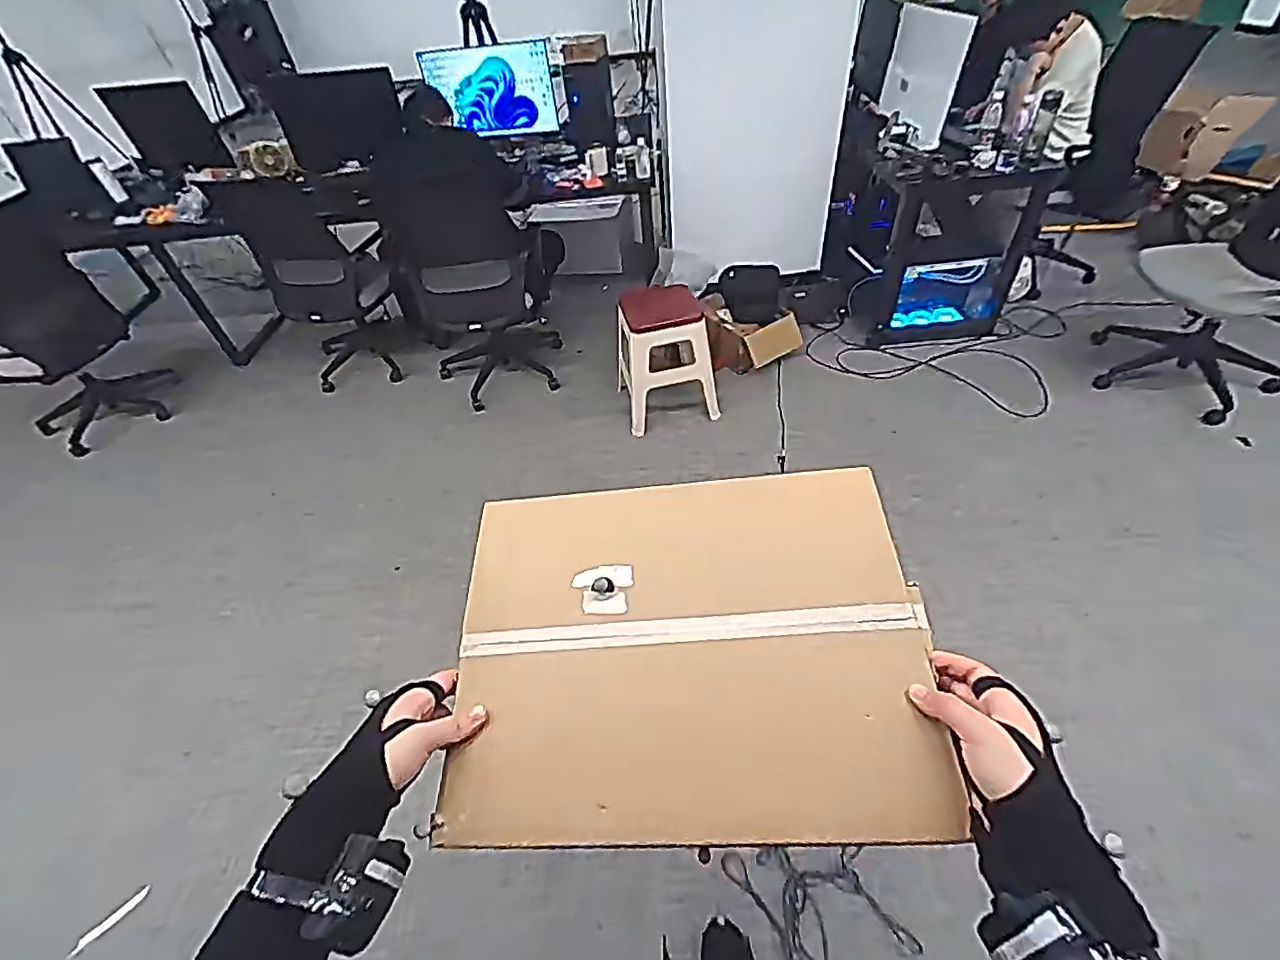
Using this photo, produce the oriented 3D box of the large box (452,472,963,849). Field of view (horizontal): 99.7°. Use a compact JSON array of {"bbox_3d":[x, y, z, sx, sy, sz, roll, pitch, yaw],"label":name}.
[{"bbox_3d":[0.063,0.224,0.617,0.408,0.320,0.320,-7,55,8],"label":"large box"}]
